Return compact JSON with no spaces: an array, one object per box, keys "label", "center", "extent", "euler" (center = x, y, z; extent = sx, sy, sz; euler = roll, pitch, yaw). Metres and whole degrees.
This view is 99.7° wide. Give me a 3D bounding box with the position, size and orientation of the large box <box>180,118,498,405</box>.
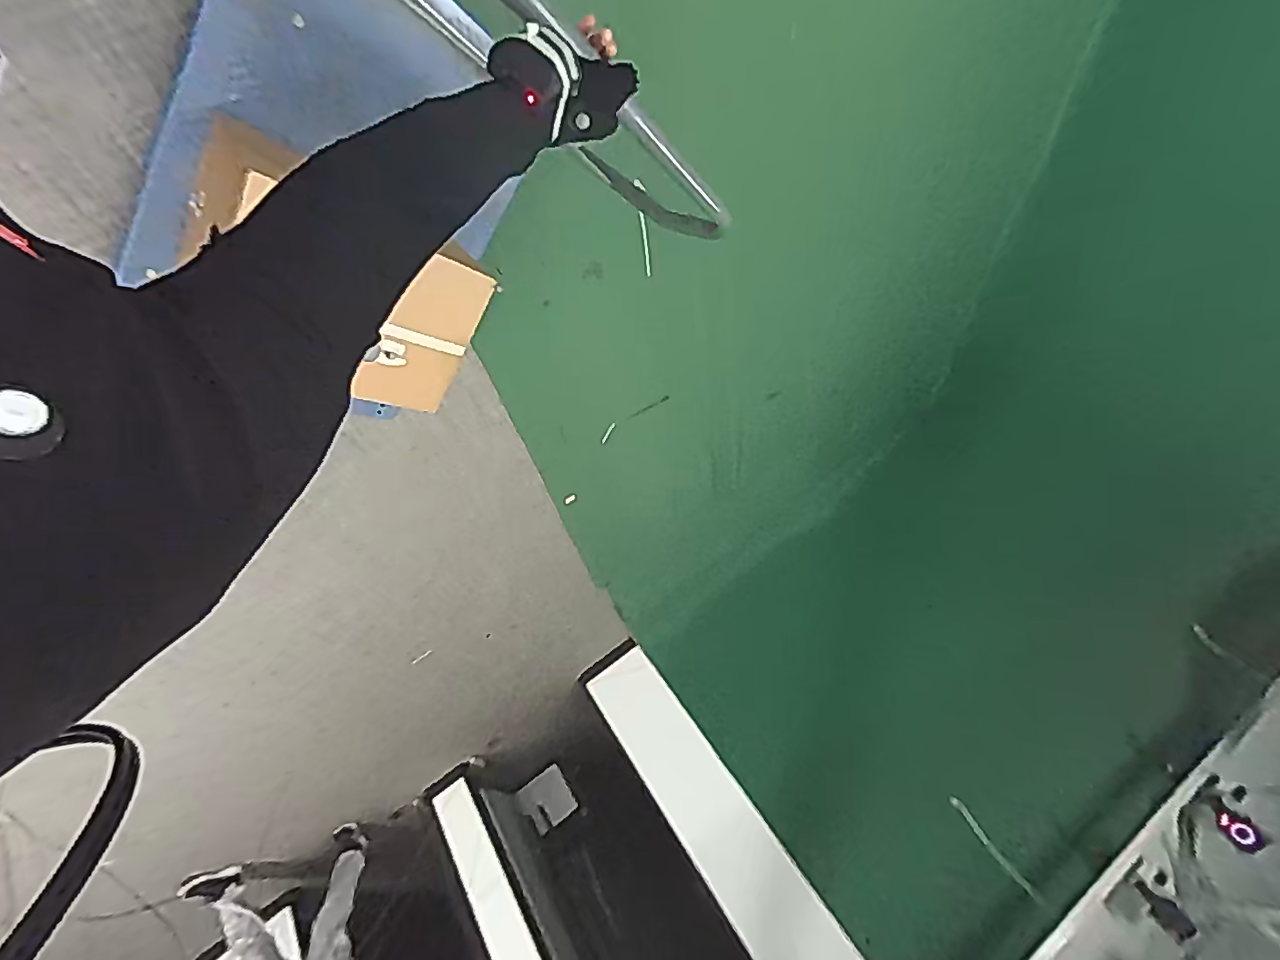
[{"label":"large box","center":[-0.558,-0.378,1.008],"extent":[0.408,0.320,0.320],"euler":[6,125,-51]}]
